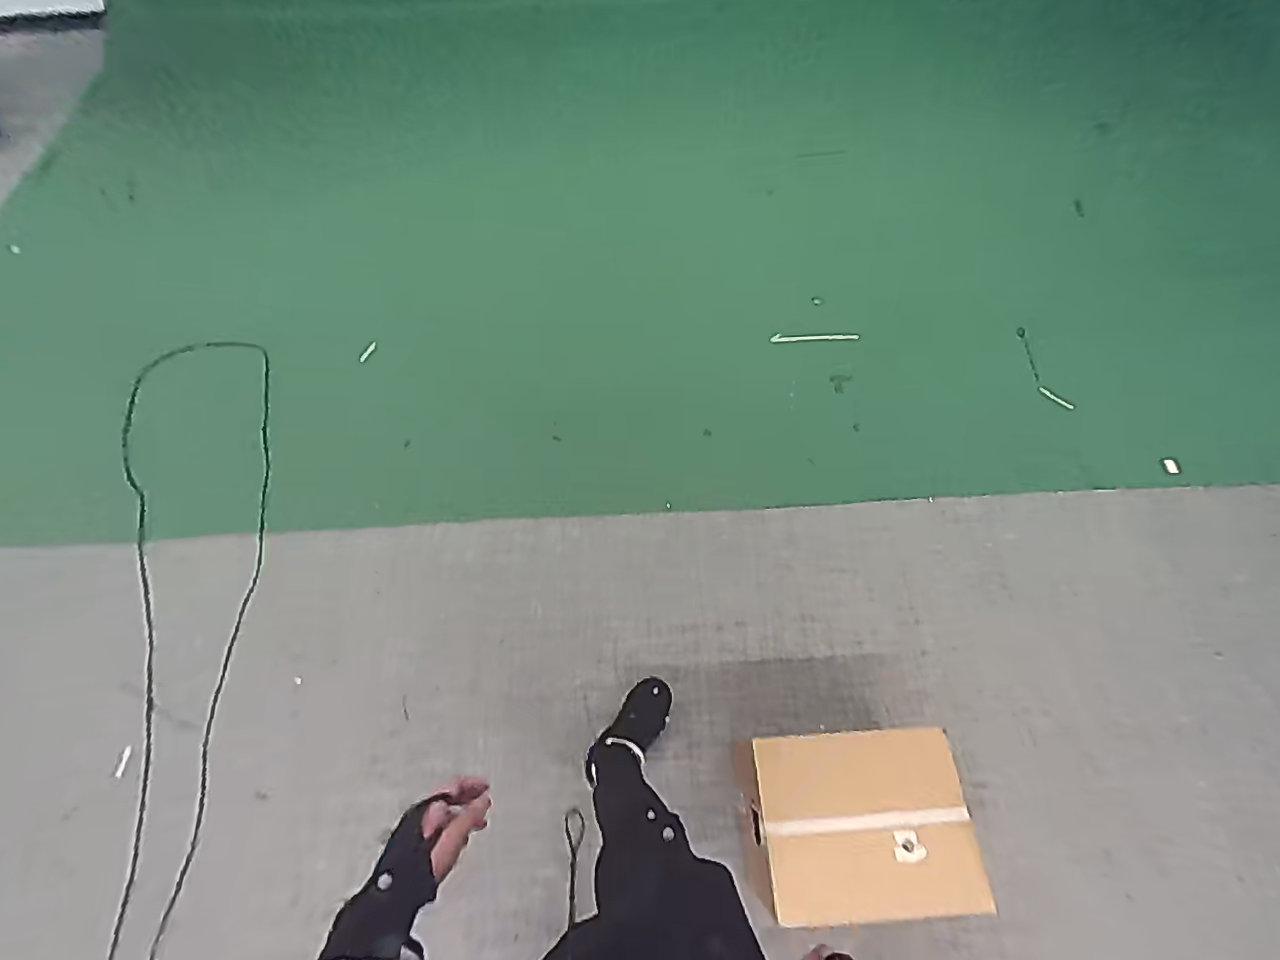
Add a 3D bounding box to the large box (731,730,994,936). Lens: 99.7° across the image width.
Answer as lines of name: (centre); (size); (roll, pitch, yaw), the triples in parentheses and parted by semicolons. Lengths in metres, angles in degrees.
large box: (0.435, 0.738, 1.174); (0.408, 0.320, 0.320); (-3, 63, -1)
